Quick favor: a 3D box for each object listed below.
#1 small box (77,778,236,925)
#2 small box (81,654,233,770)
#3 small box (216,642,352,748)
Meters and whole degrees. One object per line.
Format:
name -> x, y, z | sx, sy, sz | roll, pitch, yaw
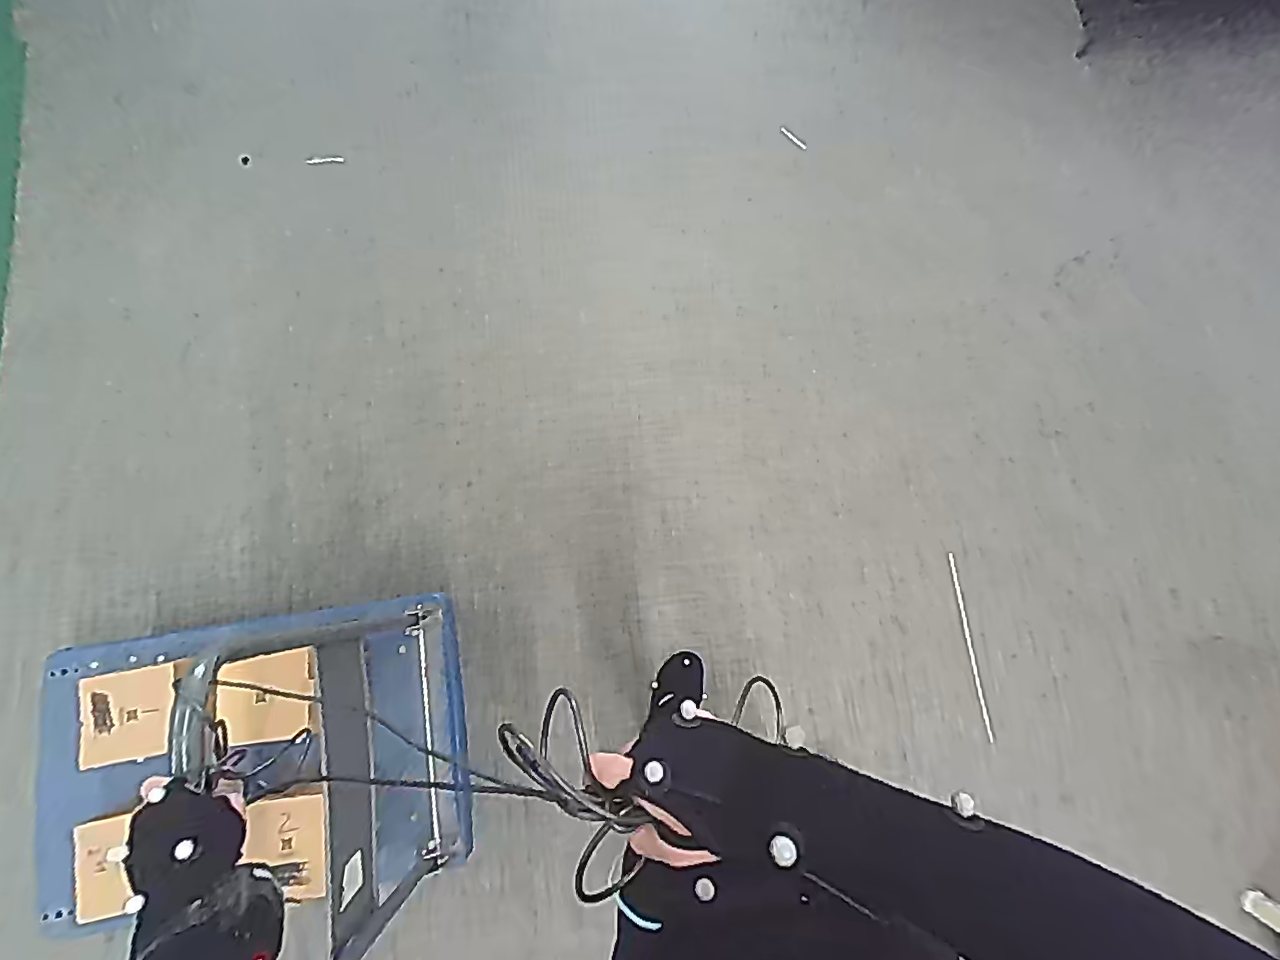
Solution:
small box -> -0.930, 0.711, 1.058 | 0.179, 0.176, 0.168 | -11, 80, -4
small box -> -0.967, 0.462, 1.100 | 0.179, 0.176, 0.168 | -9, 81, -5
small box -> -0.723, 0.434, 1.115 | 0.179, 0.176, 0.168 | -6, 80, -4
